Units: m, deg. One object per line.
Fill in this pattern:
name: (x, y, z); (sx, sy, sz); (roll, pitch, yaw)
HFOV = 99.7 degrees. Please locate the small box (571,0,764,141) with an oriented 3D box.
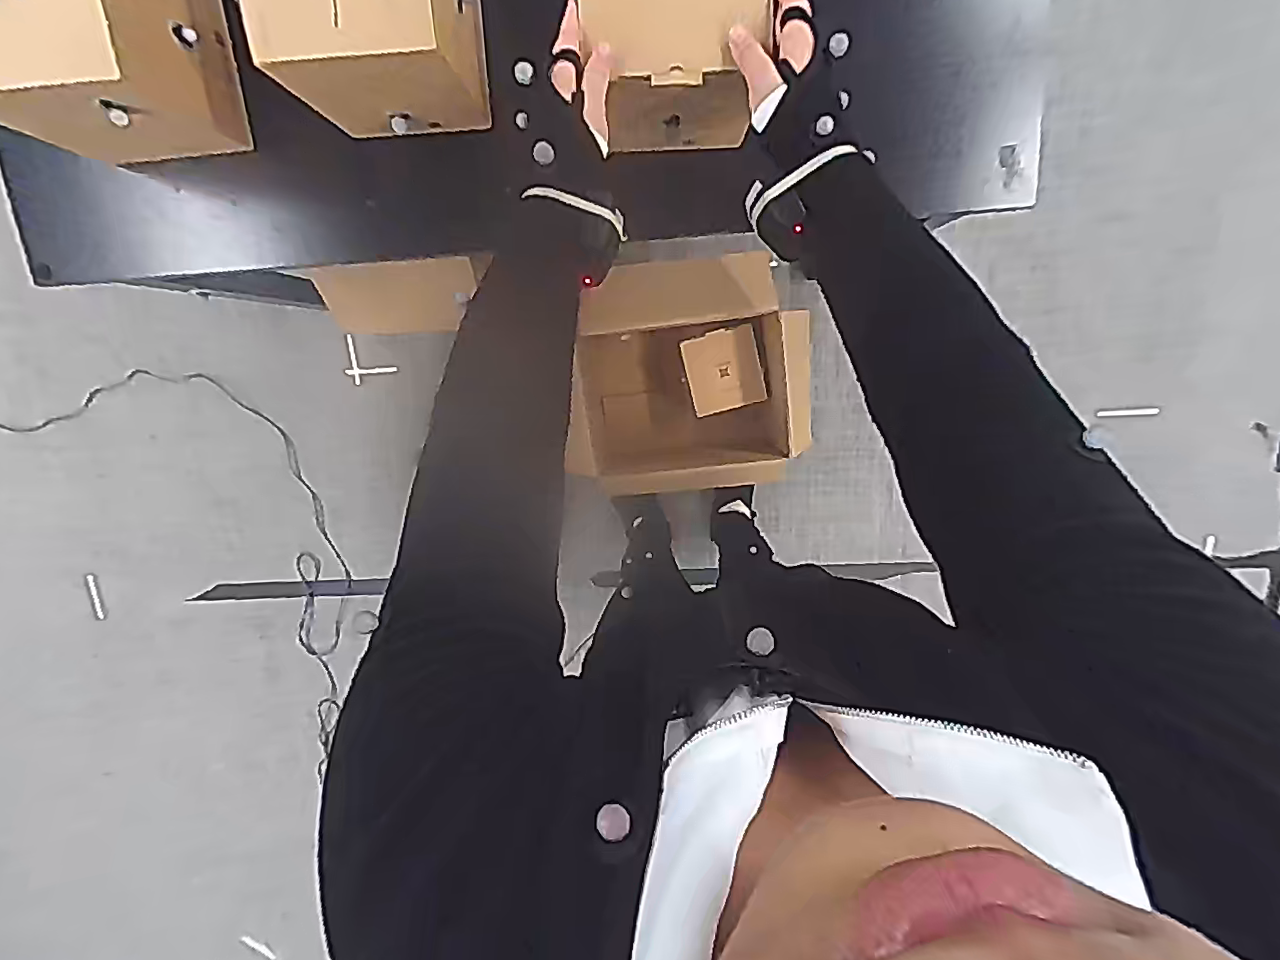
small box: (0.025, -0.451, 0.525); (0.168, 0.176, 0.179); (-2, 103, 2)

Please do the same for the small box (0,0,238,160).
small box: (-0.542, -0.439, 0.534); (0.179, 0.176, 0.168); (-5, 102, 2)

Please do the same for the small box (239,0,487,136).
small box: (-0.259, -0.467, 0.525); (0.168, 0.176, 0.179); (-3, 103, 2)
